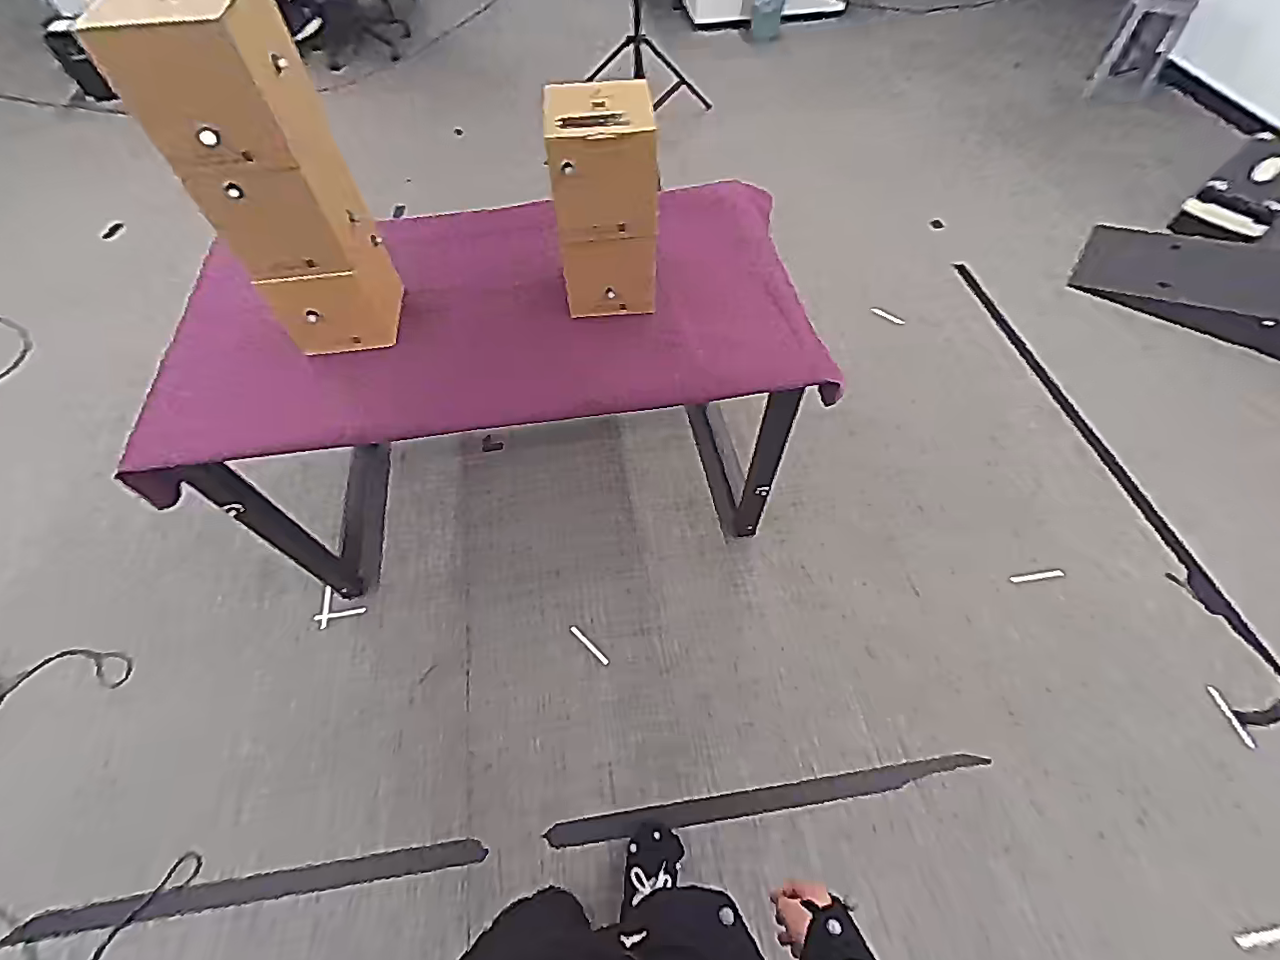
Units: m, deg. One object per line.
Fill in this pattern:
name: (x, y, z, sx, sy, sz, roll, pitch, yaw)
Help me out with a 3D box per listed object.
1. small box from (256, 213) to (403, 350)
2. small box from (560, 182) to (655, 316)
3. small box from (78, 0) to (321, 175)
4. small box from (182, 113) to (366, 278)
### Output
small box: (-0.554, -0.355, 0.992, 0.168, 0.176, 0.179, -7, 57, -3)
small box: (-0.059, -0.439, 1.034, 0.168, 0.176, 0.179, -4, 58, 0)
small box: (-0.556, -0.535, 0.717, 0.168, 0.176, 0.179, -7, 58, -3)
small box: (-0.558, -0.448, 0.857, 0.168, 0.176, 0.179, -8, 57, -4)
